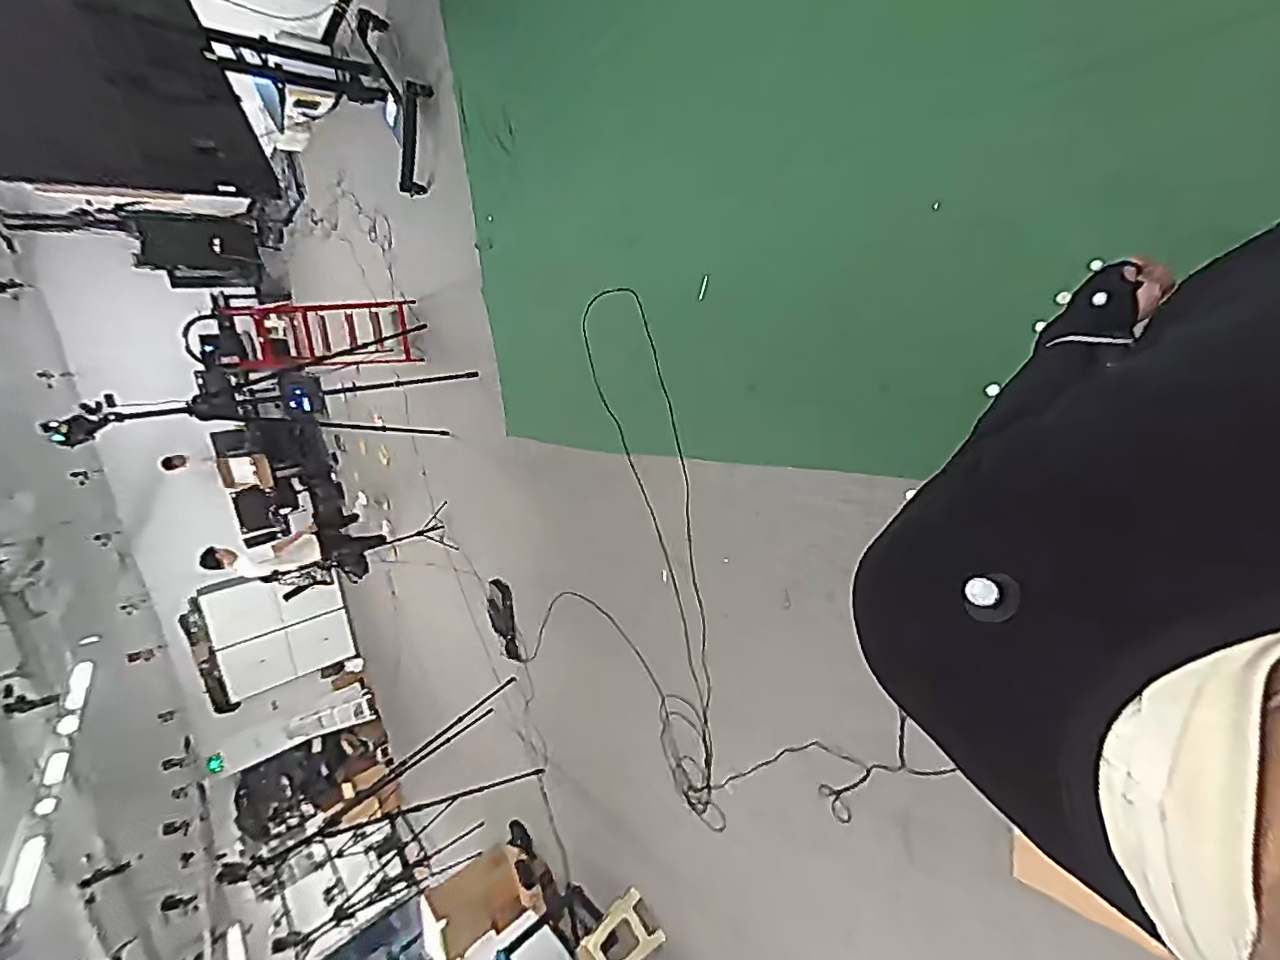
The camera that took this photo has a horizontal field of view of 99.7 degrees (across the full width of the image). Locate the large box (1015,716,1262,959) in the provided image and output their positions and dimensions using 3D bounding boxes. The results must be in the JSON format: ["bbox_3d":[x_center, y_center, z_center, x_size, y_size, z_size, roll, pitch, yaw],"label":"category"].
[{"bbox_3d":[1.186,0.848,1.310,0.408,0.320,0.320,7,108,47],"label":"large box"}]
